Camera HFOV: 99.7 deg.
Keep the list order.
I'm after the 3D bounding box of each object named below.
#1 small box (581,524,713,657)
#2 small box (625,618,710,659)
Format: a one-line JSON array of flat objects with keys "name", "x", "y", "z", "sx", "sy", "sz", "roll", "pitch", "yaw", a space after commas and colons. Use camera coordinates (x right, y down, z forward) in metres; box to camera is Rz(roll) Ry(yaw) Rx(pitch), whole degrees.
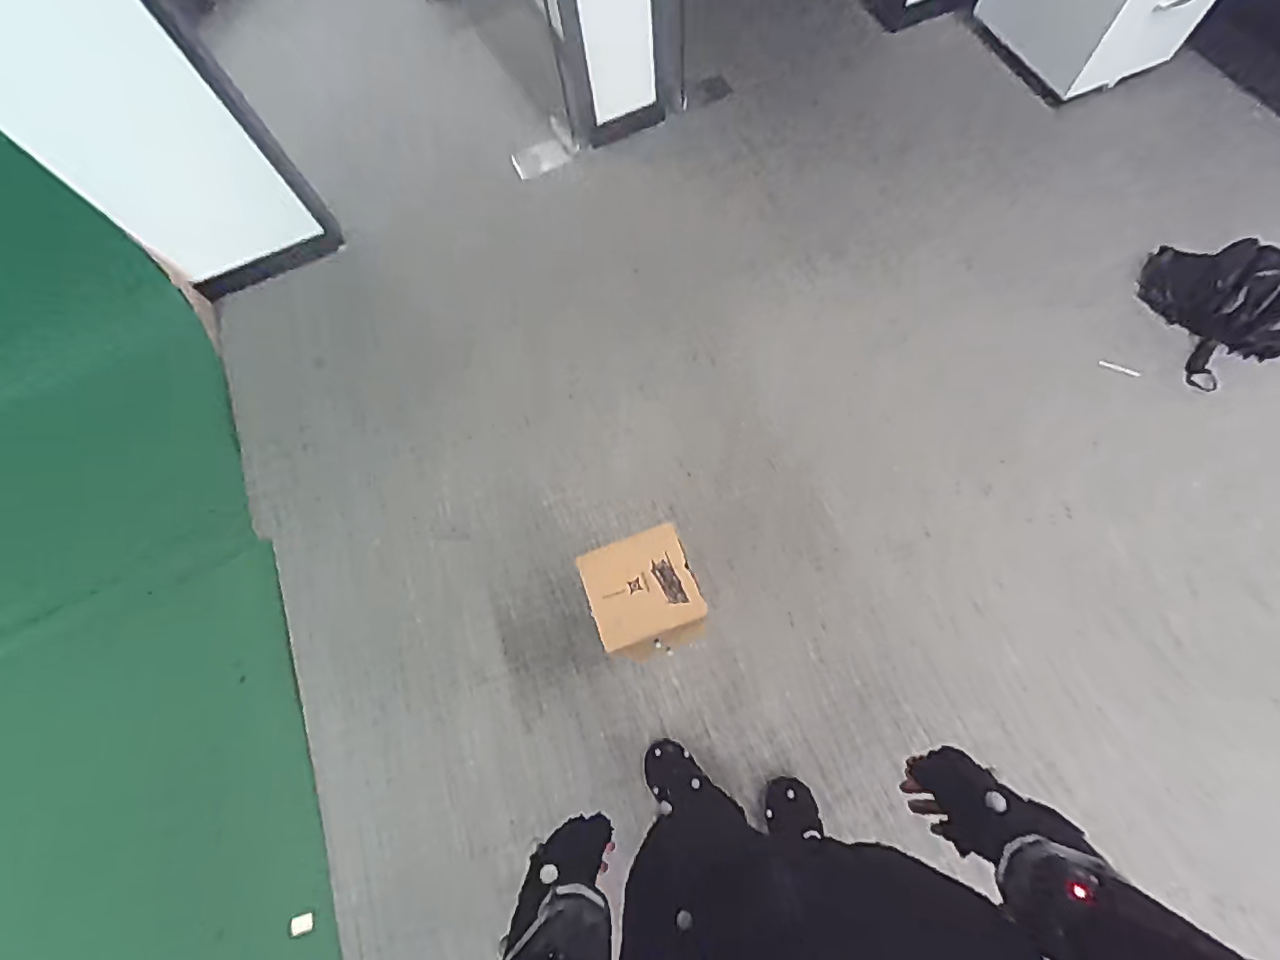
[{"name": "small box", "x": 0.013, "y": 0.200, "z": 0.954, "sx": 0.179, "sy": 0.176, "sz": 0.168, "roll": -23, "pitch": 69, "yaw": -4}, {"name": "small box", "x": 0.031, "y": 0.258, "z": 1.108, "sx": 0.179, "sy": 0.176, "sz": 0.168, "roll": -18, "pitch": 69, "yaw": -2}]
